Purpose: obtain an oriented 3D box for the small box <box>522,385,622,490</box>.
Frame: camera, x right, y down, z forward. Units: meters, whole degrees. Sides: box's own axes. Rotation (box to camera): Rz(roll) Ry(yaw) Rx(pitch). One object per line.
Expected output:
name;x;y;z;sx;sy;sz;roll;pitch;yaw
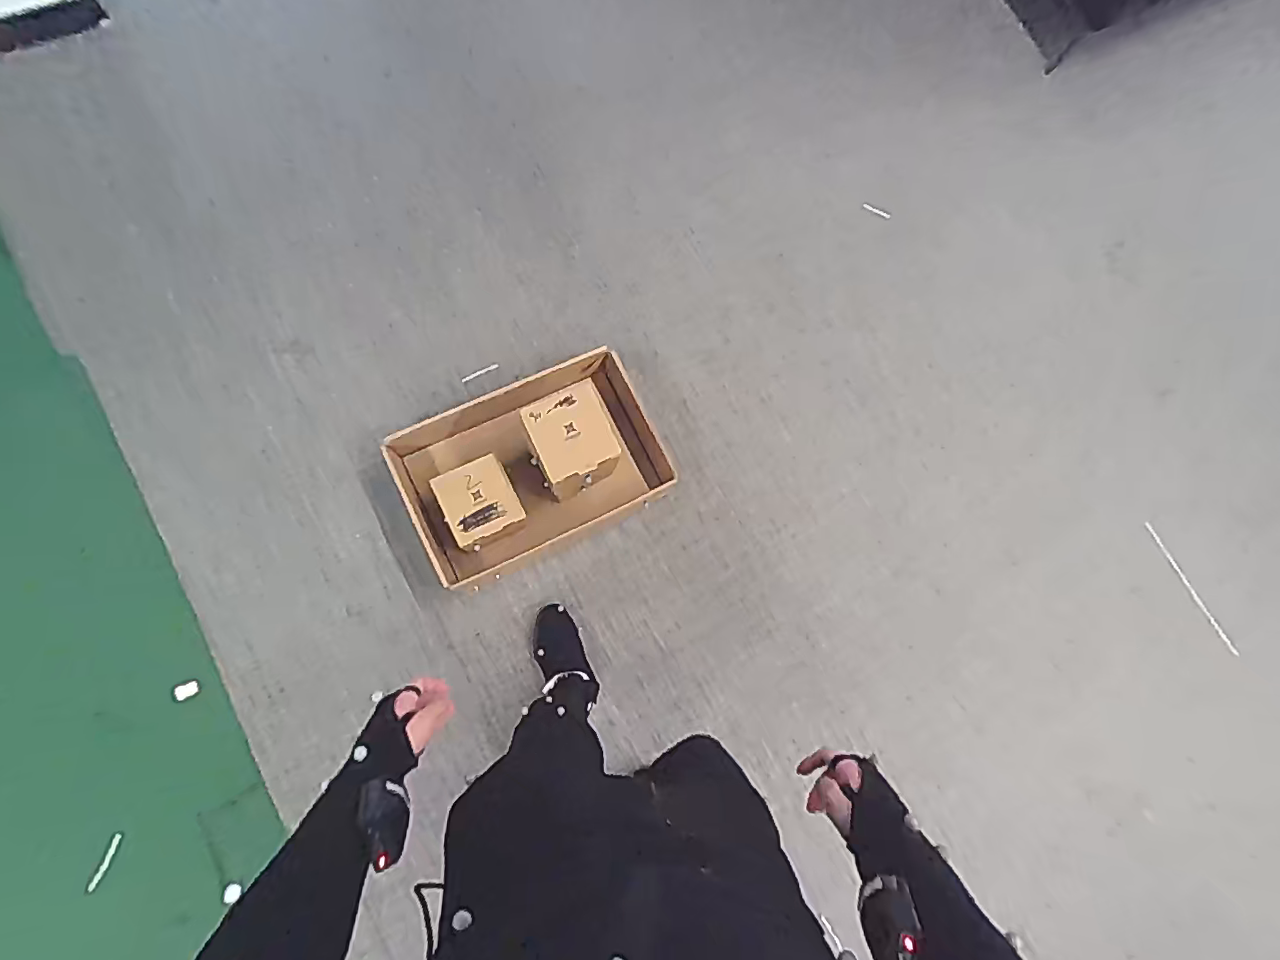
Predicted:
small box;-0.152;-0.087;1.223;0.168;0.176;0.179;-24;85;-11
